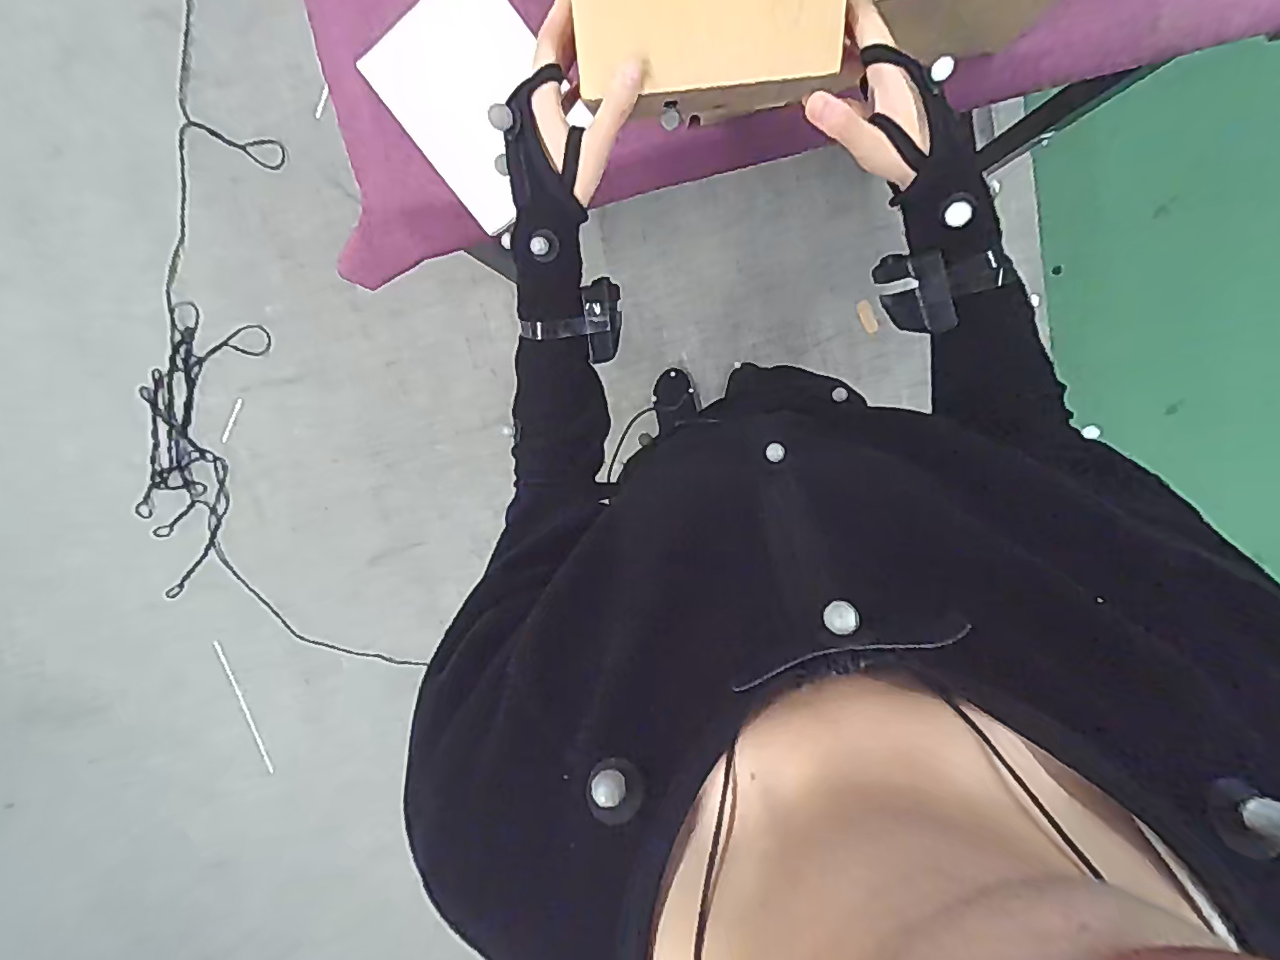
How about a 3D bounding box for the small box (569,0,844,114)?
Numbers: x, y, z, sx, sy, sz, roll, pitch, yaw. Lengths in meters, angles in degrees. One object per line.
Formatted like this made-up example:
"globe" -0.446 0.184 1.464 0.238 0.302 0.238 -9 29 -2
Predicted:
"small box" 0.039 -0.365 0.369 0.168 0.176 0.179 -4 117 4
